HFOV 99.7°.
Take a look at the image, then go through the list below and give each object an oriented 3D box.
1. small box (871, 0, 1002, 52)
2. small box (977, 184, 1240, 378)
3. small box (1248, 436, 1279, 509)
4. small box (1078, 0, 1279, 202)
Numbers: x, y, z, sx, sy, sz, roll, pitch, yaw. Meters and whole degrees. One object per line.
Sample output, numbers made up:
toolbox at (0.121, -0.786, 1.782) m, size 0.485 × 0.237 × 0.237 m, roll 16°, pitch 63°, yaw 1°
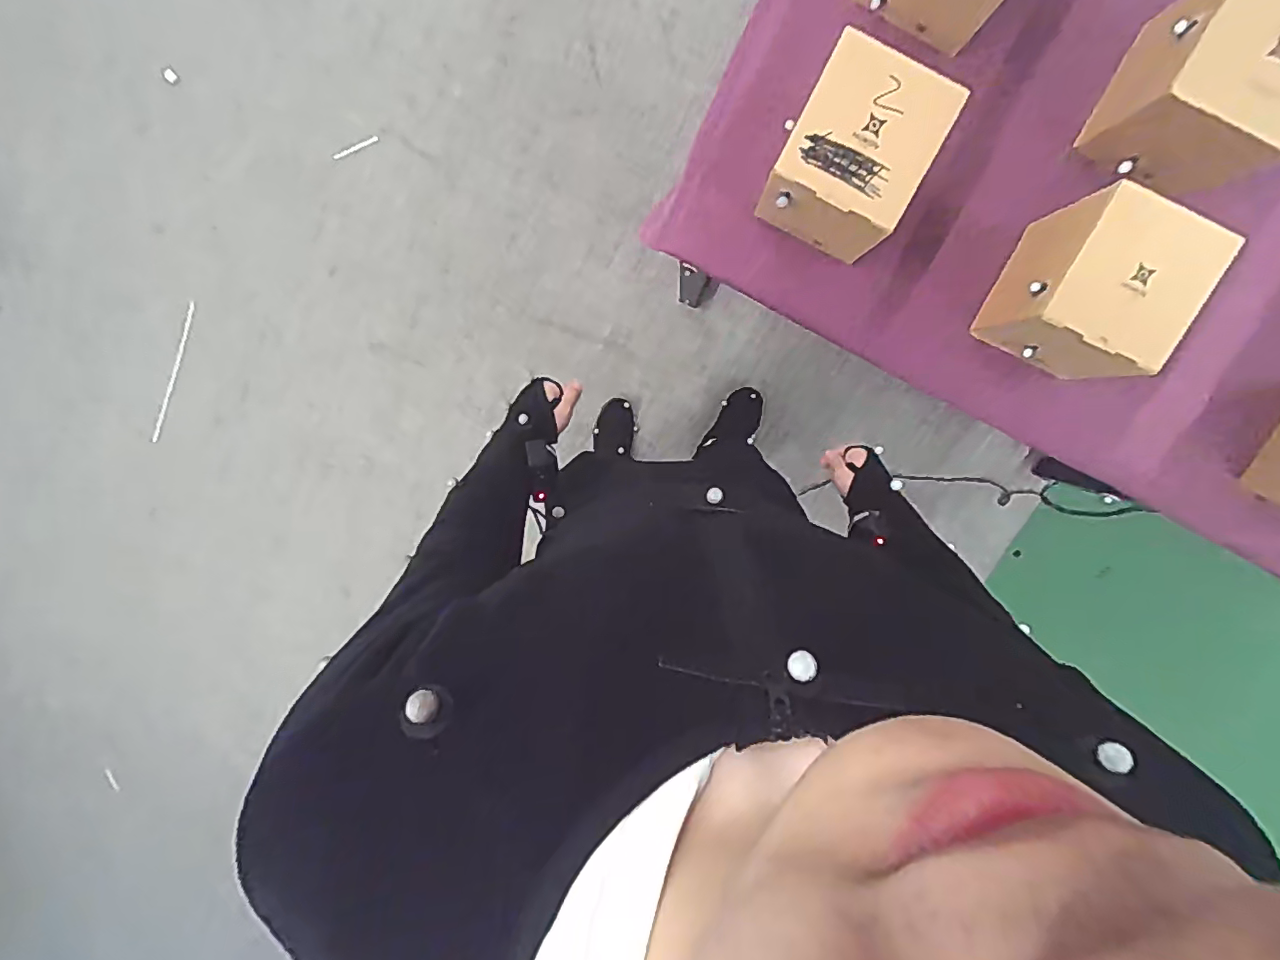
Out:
small box at (0.405, -0.686, 0.661) m, size 0.168 × 0.176 × 0.179 m, roll 29°, pitch 102°, yaw -2°
small box at (0.604, -0.251, 0.728) m, size 0.168 × 0.176 × 0.179 m, roll 26°, pitch 101°, yaw -1°
small box at (1.020, -0.016, 0.734) m, size 0.168 × 0.176 × 0.179 m, roll 28°, pitch 100°, yaw 1°
small box at (0.716, -0.490, 0.678) m, size 0.168 × 0.176 × 0.179 m, roll 27°, pitch 102°, yaw 0°
